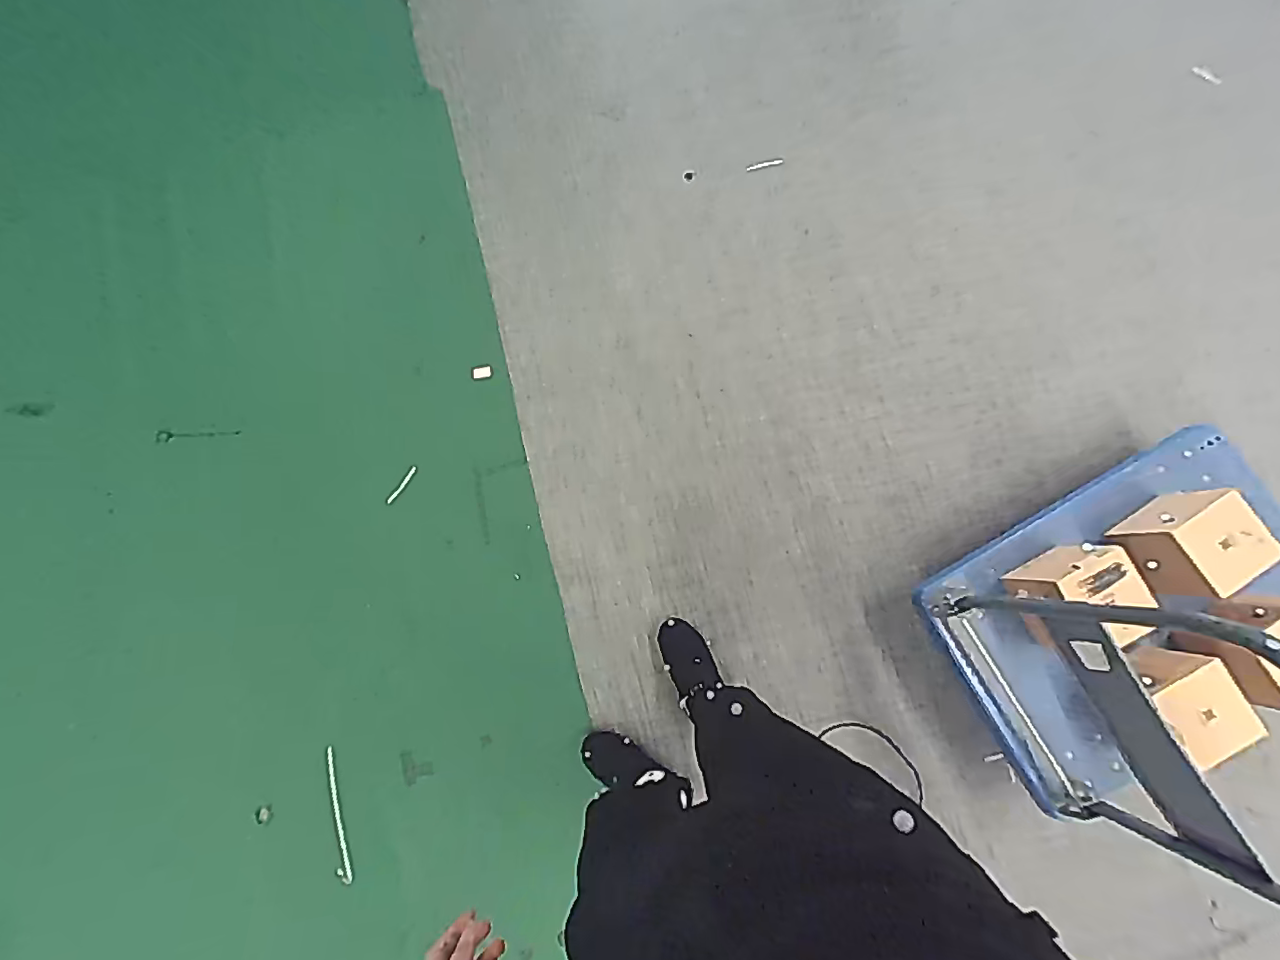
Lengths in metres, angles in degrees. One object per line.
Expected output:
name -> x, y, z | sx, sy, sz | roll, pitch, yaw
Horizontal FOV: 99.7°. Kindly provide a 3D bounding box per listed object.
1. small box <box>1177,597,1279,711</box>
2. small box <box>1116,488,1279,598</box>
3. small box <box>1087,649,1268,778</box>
small box -> 1.324, 0.361, 1.144 | 0.179, 0.176, 0.168 | -30, 82, -3
small box -> 1.201, 0.139, 1.178 | 0.179, 0.176, 0.168 | -32, 83, -4
small box -> 1.108, 0.474, 1.131 | 0.179, 0.176, 0.168 | -27, 82, -3
